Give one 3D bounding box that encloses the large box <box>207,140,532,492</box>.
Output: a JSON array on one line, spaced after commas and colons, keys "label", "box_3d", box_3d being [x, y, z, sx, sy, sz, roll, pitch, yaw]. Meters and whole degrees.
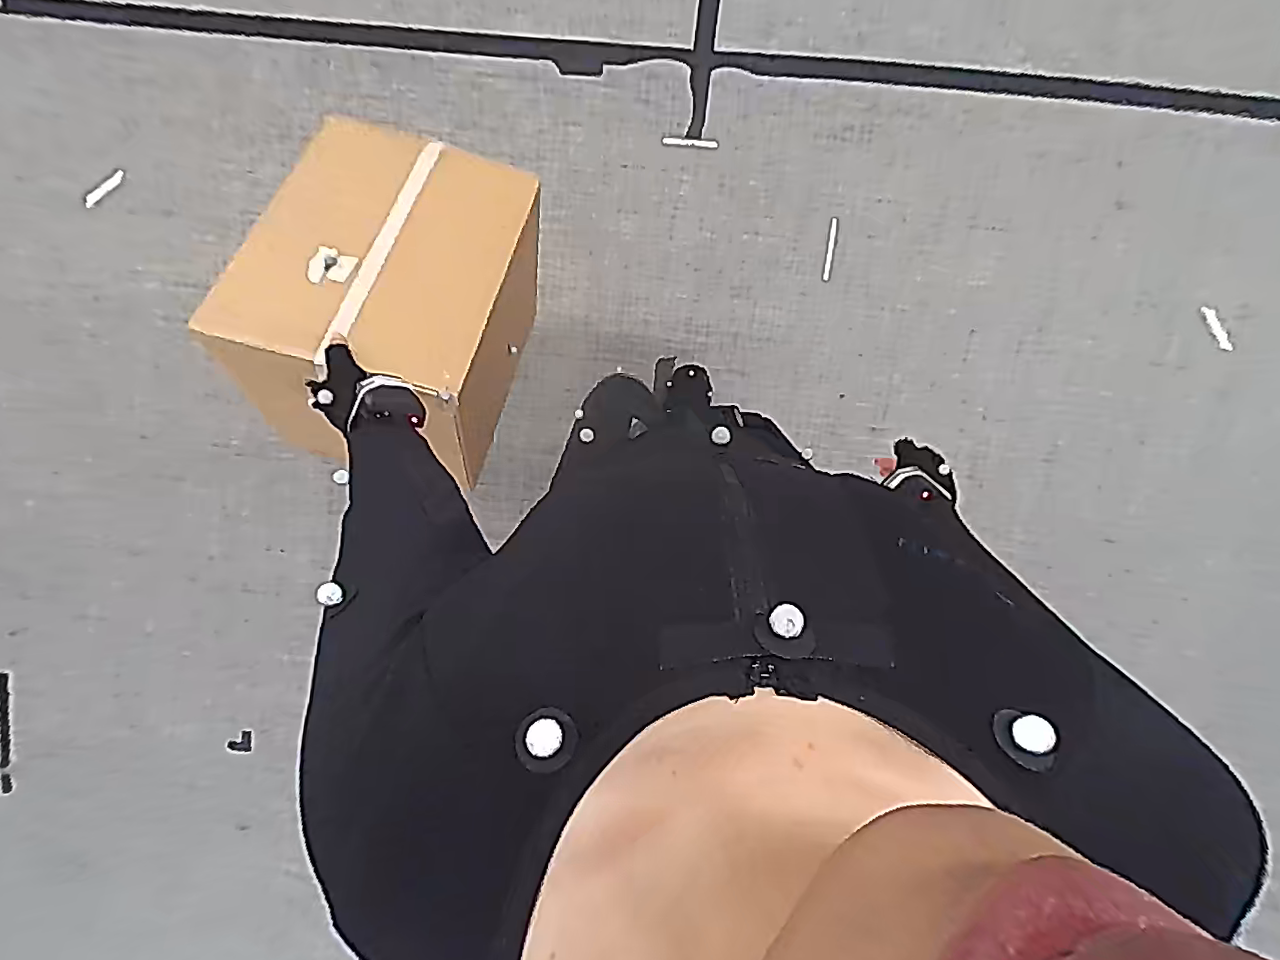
[{"label": "large box", "box_3d": [-0.372, -0.244, 0.878, 0.320, 0.320, 0.408, 13, 64, -5]}]
